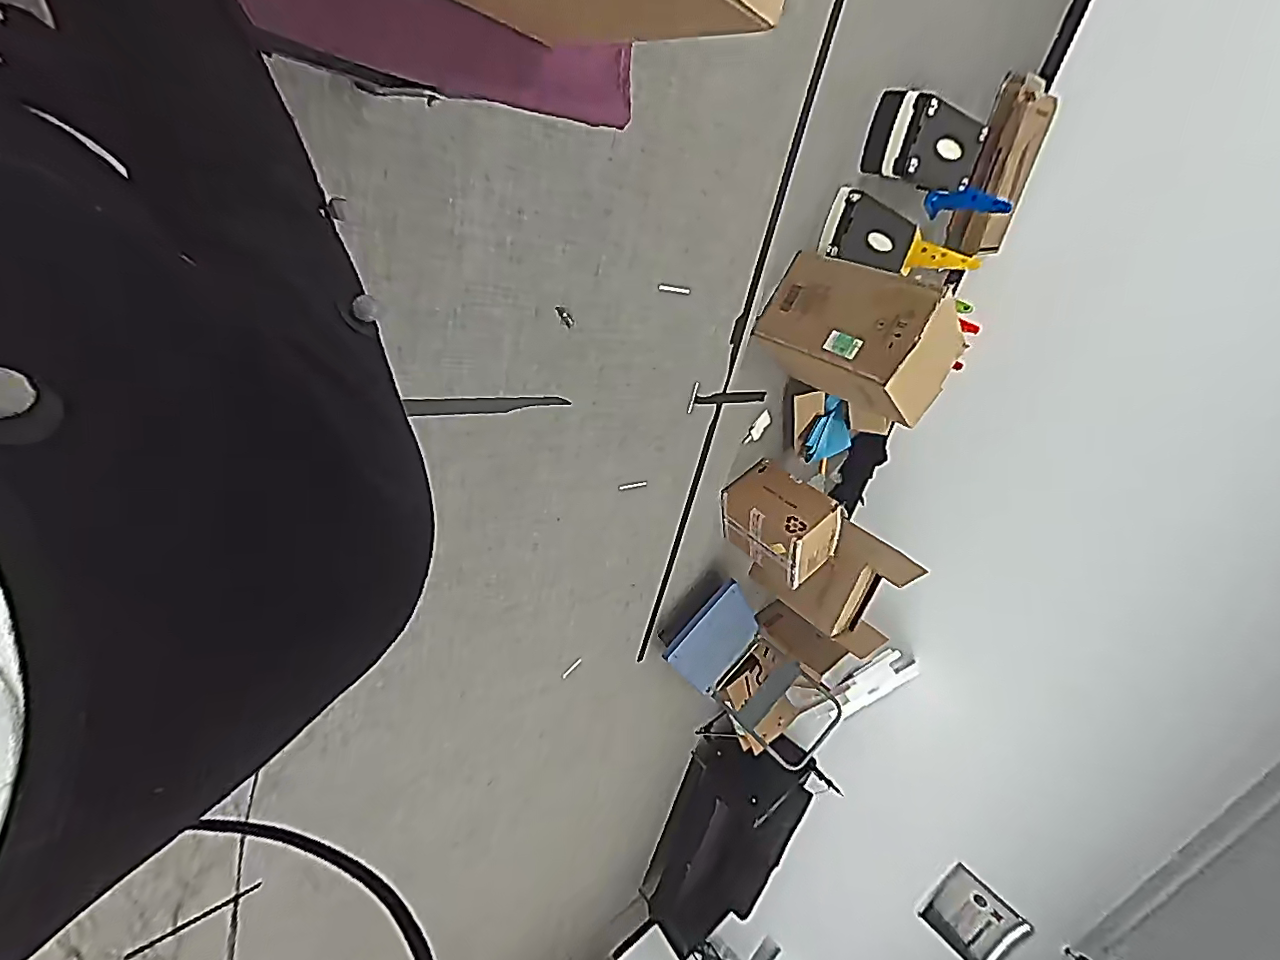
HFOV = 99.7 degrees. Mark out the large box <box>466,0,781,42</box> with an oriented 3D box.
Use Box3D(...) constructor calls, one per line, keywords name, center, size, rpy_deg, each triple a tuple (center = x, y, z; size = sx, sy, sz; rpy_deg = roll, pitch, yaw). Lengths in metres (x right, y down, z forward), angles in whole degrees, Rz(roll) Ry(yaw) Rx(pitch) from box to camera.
Box3D(name="large box", center=(-0.067, -0.562, 0.318), size=(0.320, 0.320, 0.408), rpy_deg=(-12, 125, -43))
